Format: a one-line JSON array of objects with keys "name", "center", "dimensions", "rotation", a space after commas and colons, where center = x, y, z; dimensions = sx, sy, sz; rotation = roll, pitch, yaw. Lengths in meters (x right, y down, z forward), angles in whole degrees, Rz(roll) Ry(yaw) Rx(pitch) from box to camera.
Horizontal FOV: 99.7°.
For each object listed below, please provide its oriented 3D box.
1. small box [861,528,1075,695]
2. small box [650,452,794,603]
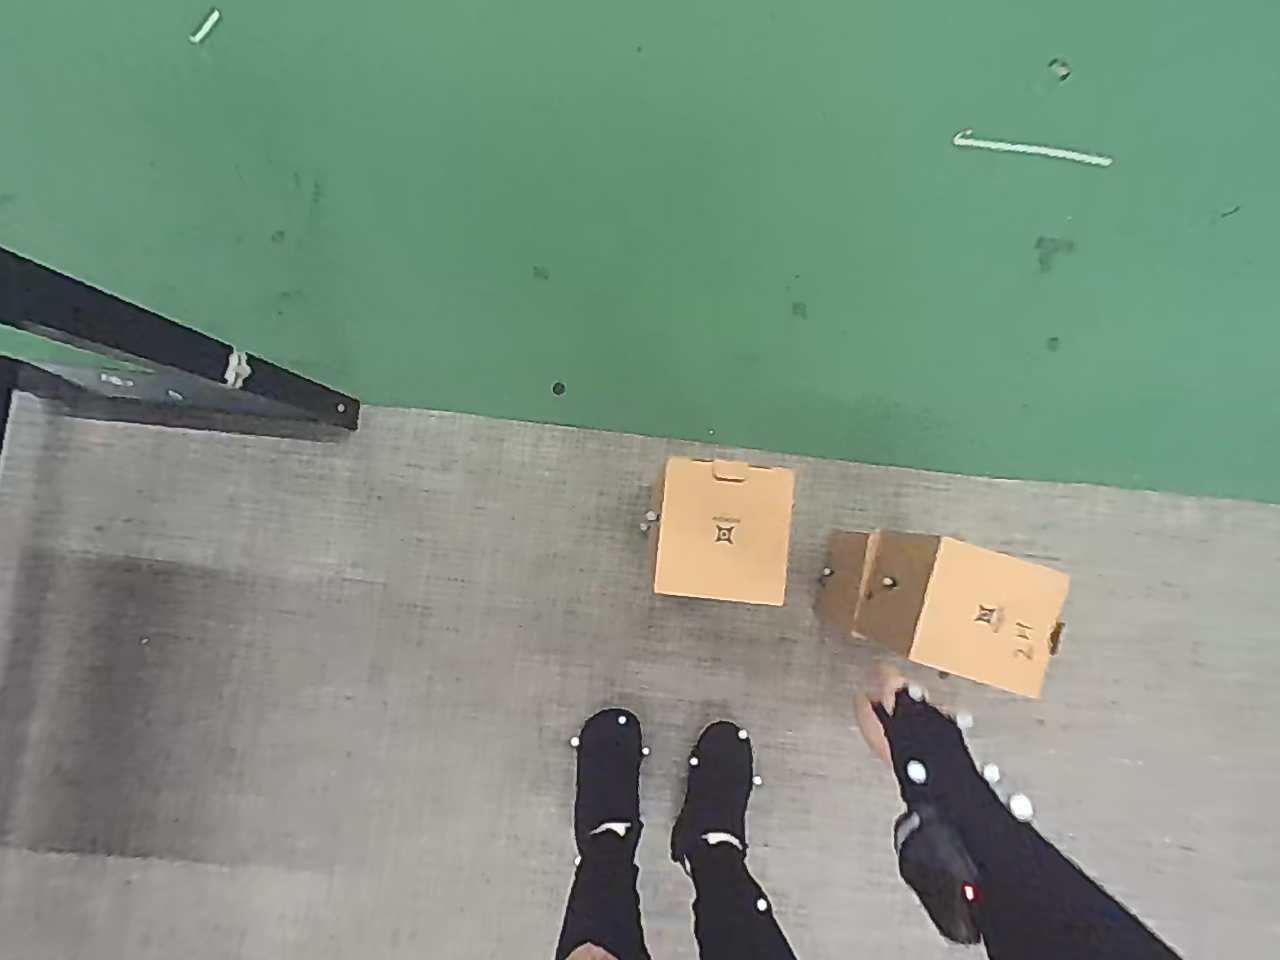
[{"name": "small box", "center": [0.436, 0.169, 0.750], "dimensions": [0.179, 0.176, 0.168], "rotation": [17, 87, -1]}, {"name": "small box", "center": [0.104, 0.065, 0.750], "dimensions": [0.168, 0.176, 0.179], "rotation": [6, 85, -1]}]
